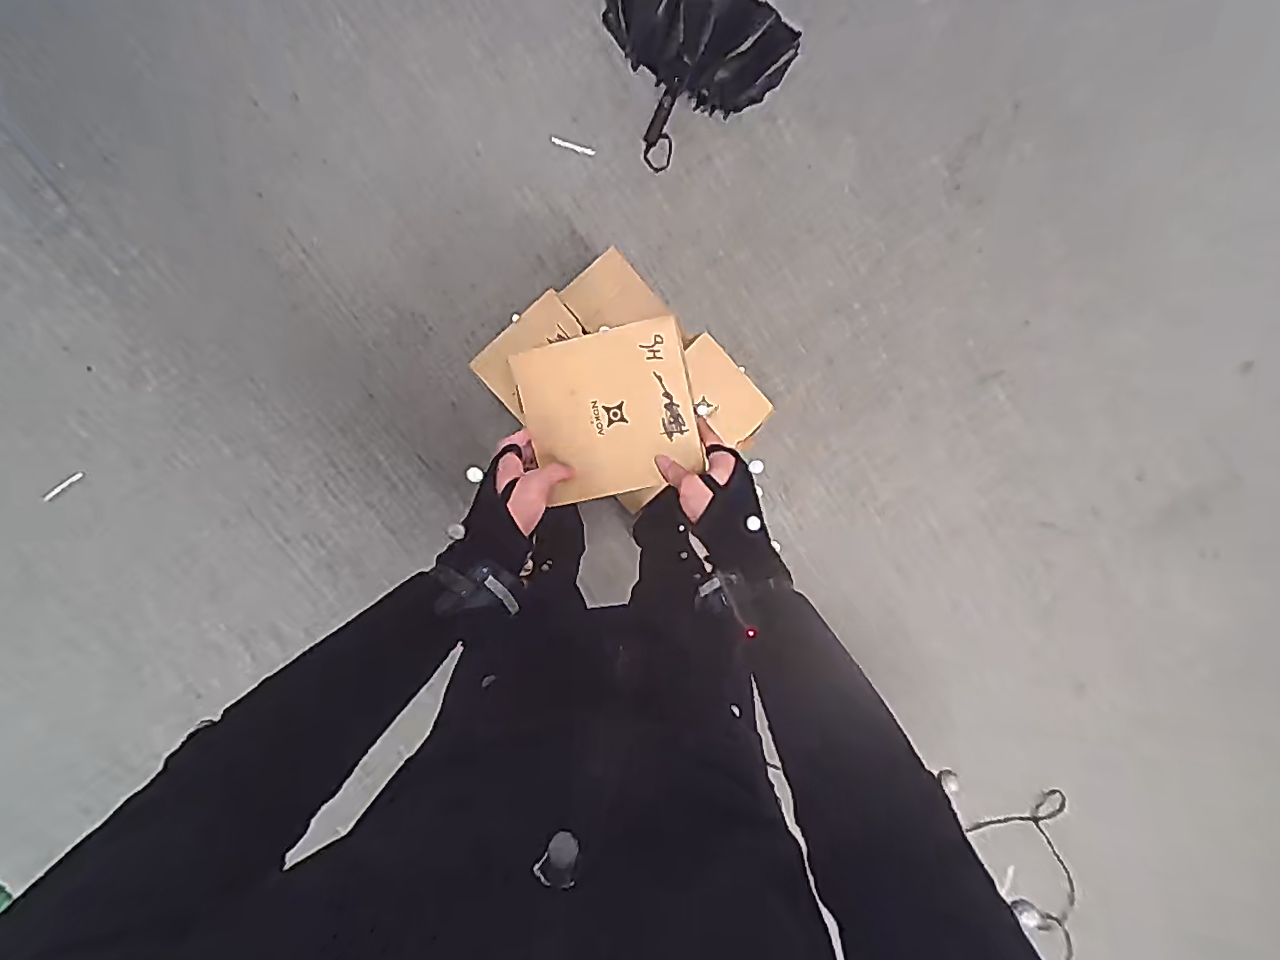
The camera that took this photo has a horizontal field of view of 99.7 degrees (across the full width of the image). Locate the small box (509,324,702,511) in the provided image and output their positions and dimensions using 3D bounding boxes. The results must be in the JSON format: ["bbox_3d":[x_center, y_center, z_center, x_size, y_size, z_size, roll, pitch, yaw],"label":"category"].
[{"bbox_3d":[-0.027,-0.075,0.636,0.179,0.176,0.168,-12,101,8],"label":"small box"}]

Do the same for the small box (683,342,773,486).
[{"bbox_3d":[0.095,-0.115,0.946,0.168,0.176,0.179,-45,98,1],"label":"small box"}]

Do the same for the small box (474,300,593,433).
[{"bbox_3d":[-0.147,-0.178,0.919,0.179,0.176,0.168,-40,100,7],"label":"small box"}]
